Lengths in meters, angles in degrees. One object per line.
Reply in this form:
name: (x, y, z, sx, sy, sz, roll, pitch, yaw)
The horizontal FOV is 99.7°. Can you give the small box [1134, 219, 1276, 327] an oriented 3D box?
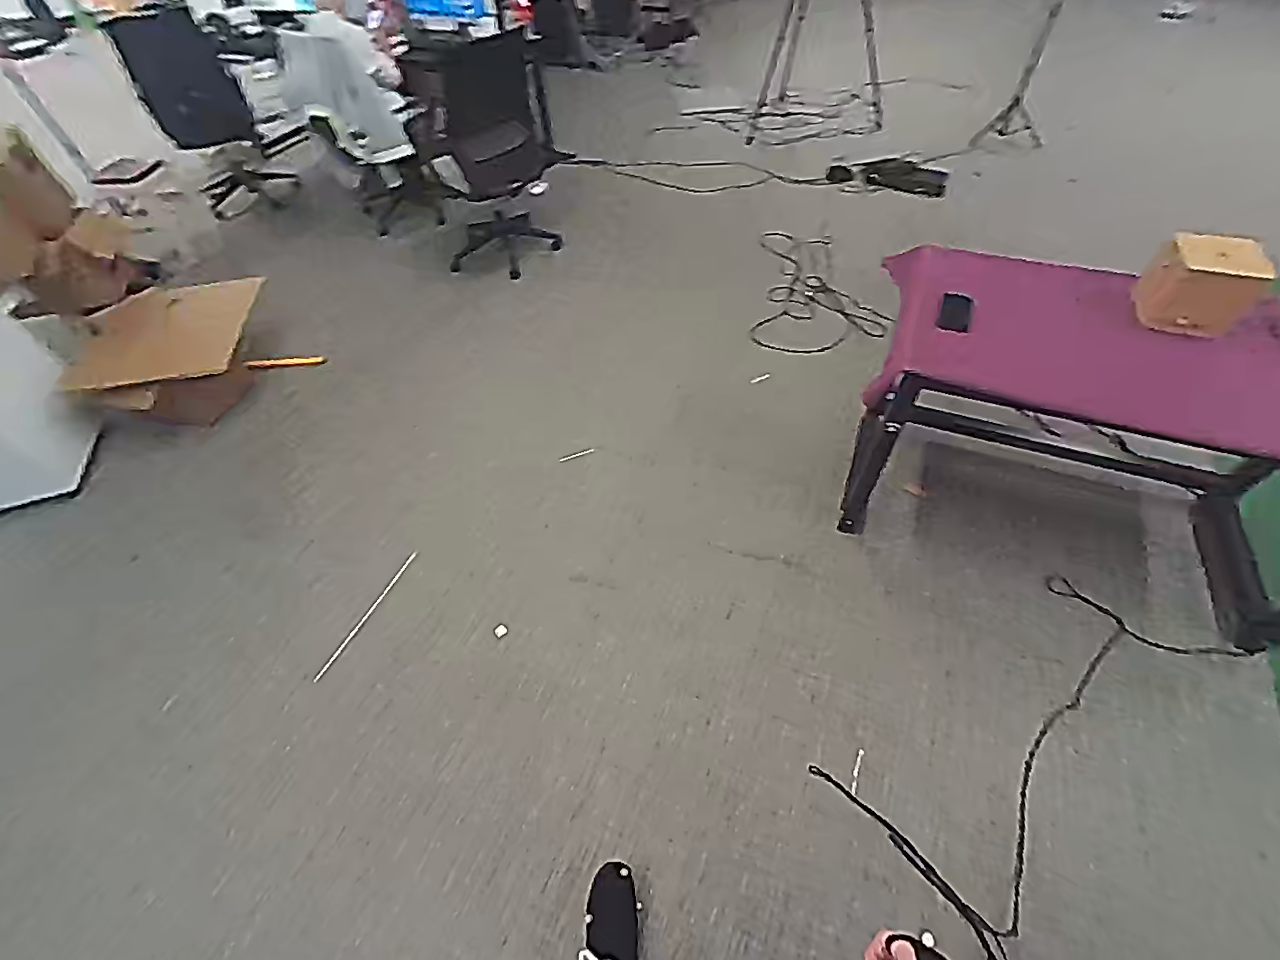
small box: (1.342, -0.498, 1.302, 0.168, 0.176, 0.179, 15, 55, 17)
